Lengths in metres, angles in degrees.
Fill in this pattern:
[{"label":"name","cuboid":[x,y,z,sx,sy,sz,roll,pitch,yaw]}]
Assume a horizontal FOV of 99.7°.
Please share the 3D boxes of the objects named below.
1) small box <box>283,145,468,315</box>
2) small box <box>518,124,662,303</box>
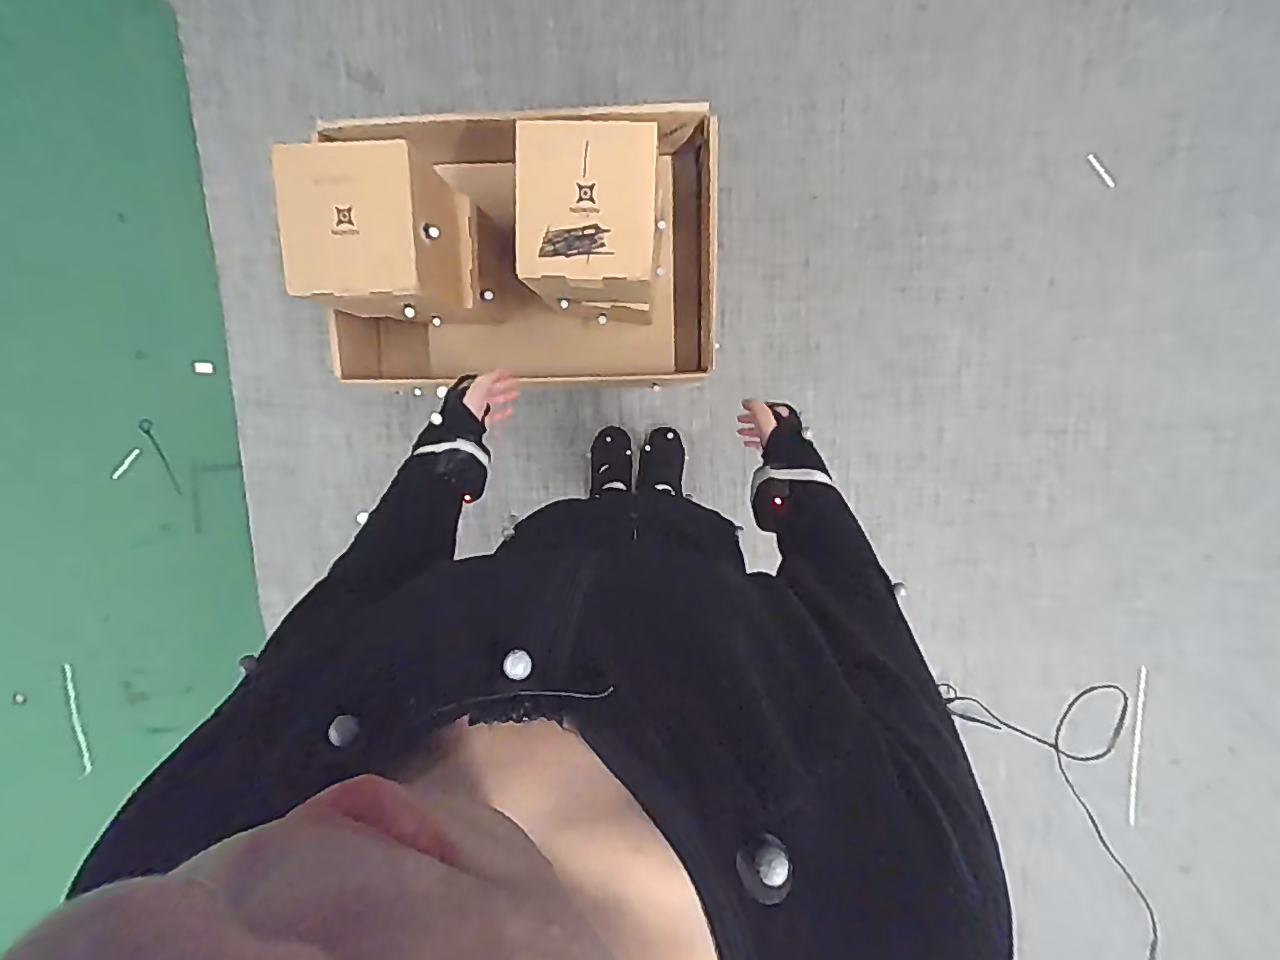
[{"label":"small box","cuboid":[-0.345,-0.326,0.738,0.168,0.176,0.179,1,98,3]},{"label":"small box","cuboid":[-0.058,-0.338,0.718,0.168,0.176,0.179,3,98,3]}]
